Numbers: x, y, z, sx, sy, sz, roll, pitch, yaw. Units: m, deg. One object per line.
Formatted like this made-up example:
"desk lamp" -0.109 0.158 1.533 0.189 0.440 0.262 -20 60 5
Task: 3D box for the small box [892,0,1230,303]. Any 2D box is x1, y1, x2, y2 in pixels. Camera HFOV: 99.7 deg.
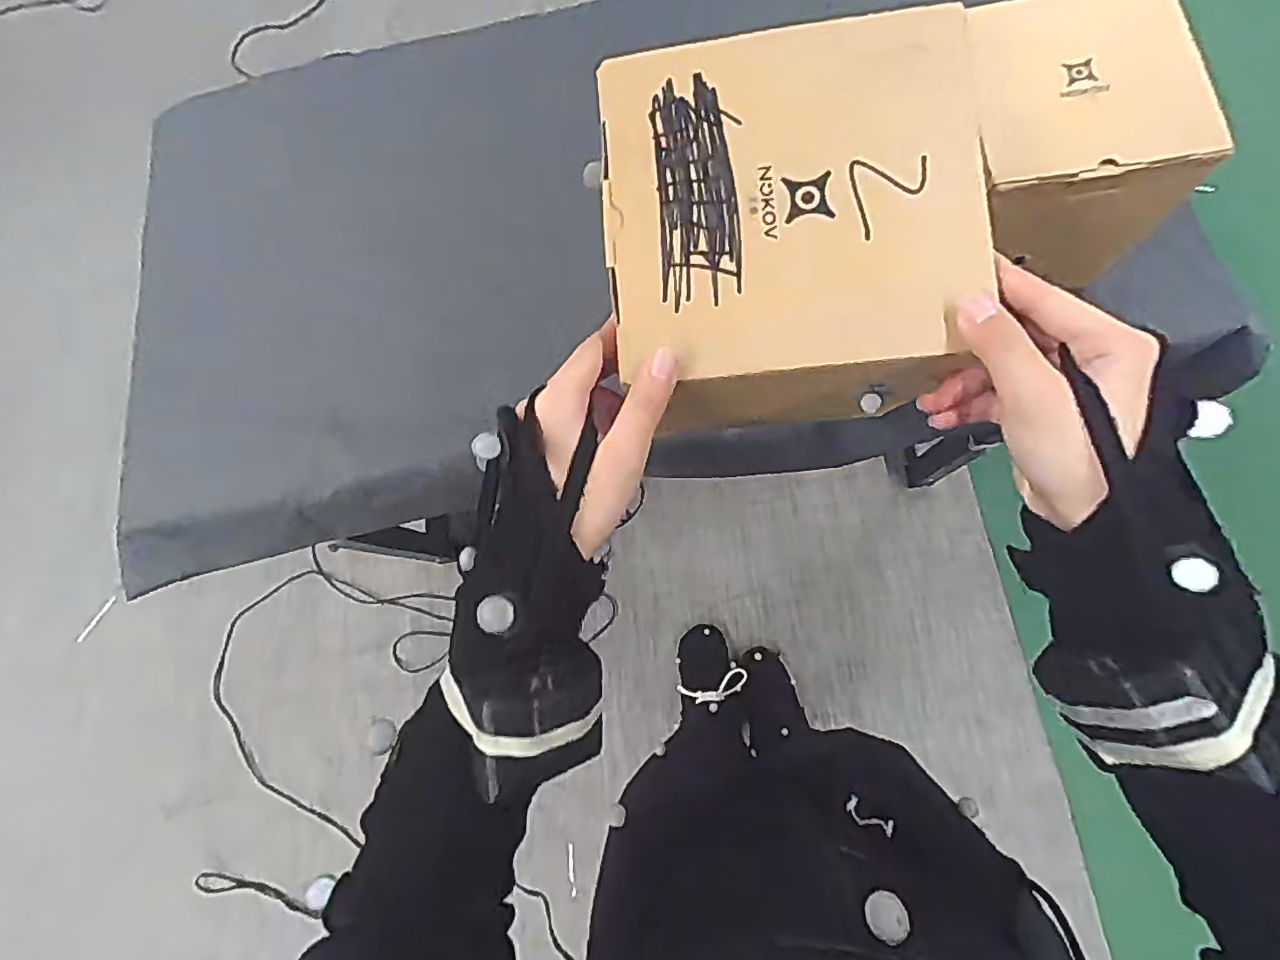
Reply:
"small box" 0.351 -0.291 0.497 0.168 0.176 0.179 -6 76 7
